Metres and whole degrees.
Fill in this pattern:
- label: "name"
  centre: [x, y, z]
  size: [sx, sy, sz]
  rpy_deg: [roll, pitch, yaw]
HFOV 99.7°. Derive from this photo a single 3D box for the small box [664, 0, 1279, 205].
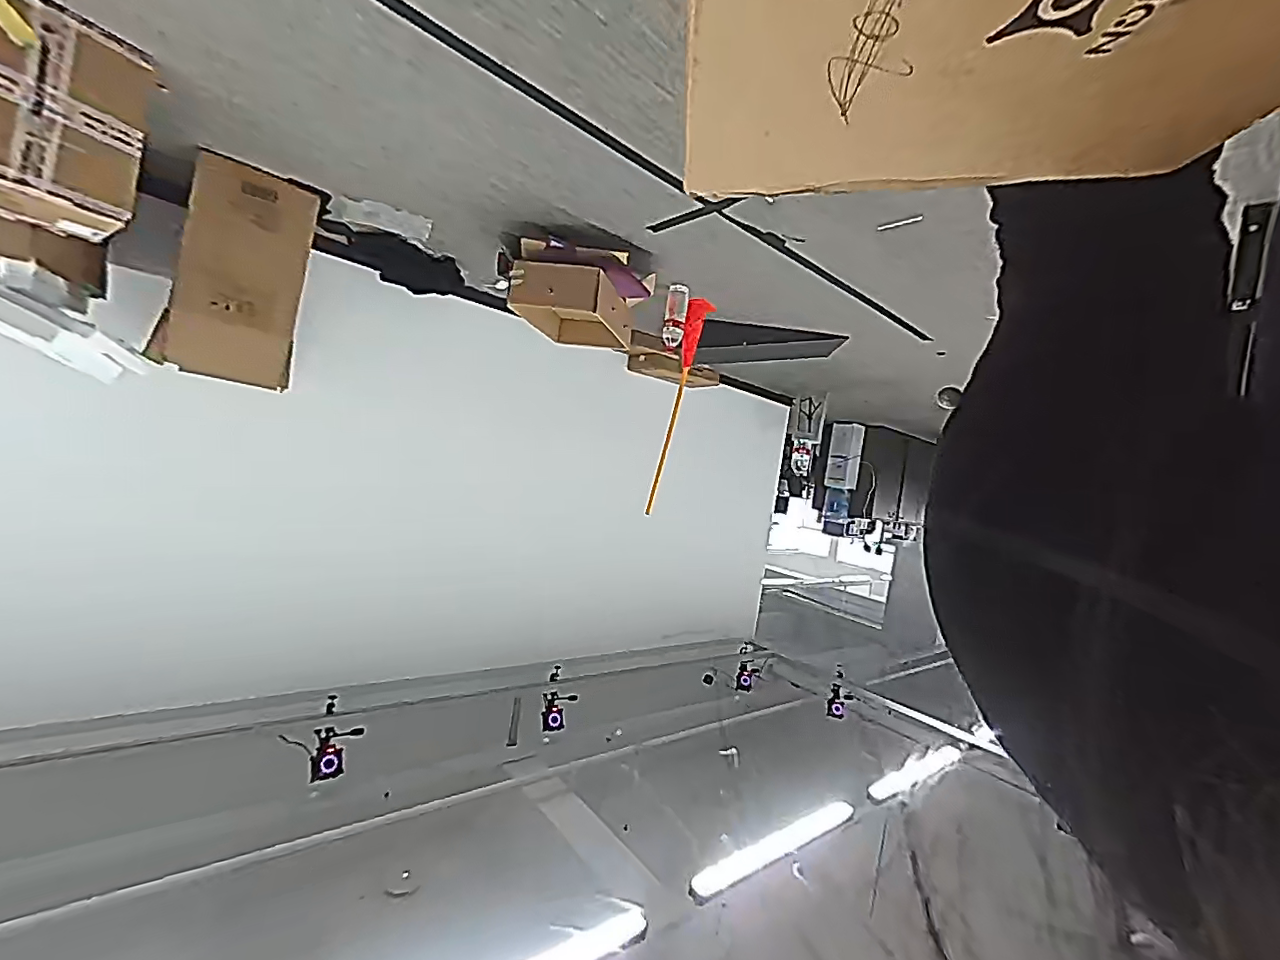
- label: "small box"
  centre: [0.092, -0.180, 0.109]
  size: [0.179, 0.176, 0.168]
  rpy_deg: [0, -177, 4]
